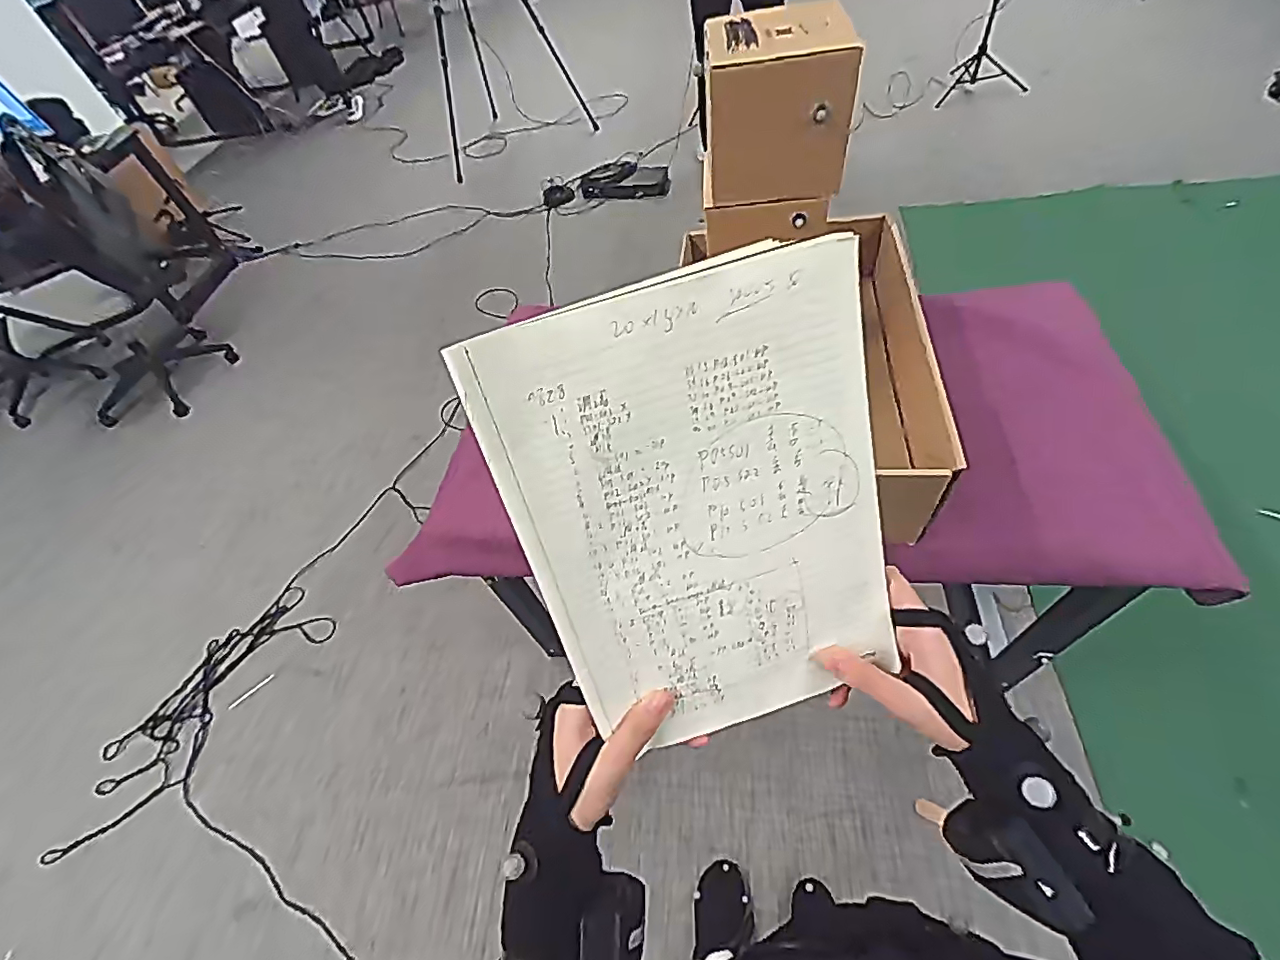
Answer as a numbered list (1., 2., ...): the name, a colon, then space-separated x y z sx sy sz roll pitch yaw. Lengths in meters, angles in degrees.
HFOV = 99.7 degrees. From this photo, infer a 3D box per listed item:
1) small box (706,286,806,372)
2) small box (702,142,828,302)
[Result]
1. small box: 0.213 -0.314 0.995 0.168 0.176 0.179 1 56 11
2. small box: 0.193 -0.403 0.862 0.179 0.176 0.168 -1 55 10
